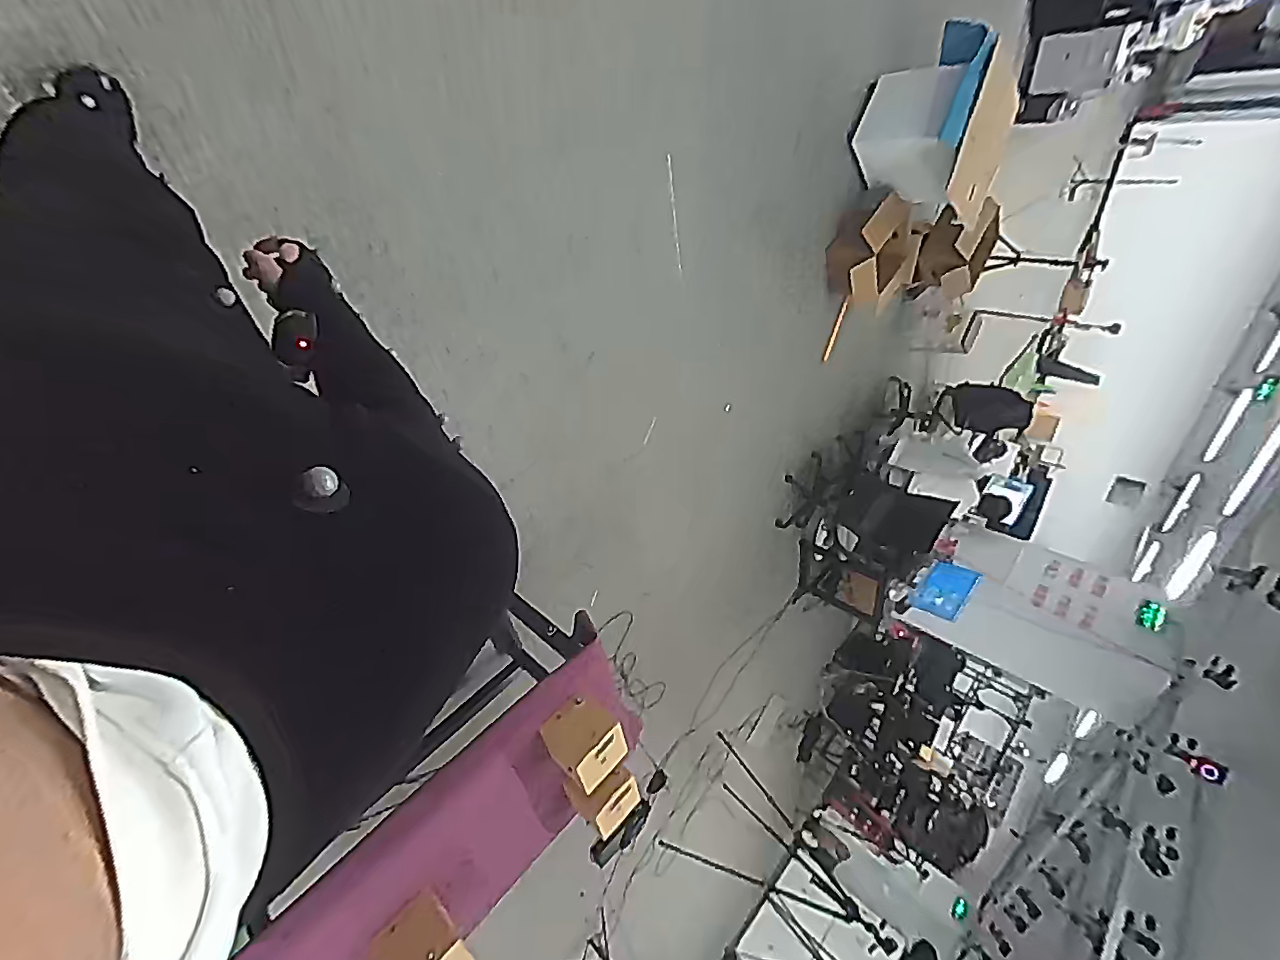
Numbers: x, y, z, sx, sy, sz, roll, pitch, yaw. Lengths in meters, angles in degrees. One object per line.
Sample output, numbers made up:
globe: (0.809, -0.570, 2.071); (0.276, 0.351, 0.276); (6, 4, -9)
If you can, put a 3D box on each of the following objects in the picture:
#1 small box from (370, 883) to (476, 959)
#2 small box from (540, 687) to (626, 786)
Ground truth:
small box: (-0.547, 1.176, 1.368); (0.168, 0.176, 0.179); (-35, 134, -35)
small box: (-0.167, 0.736, 1.572); (0.168, 0.176, 0.179); (-37, 136, -31)
